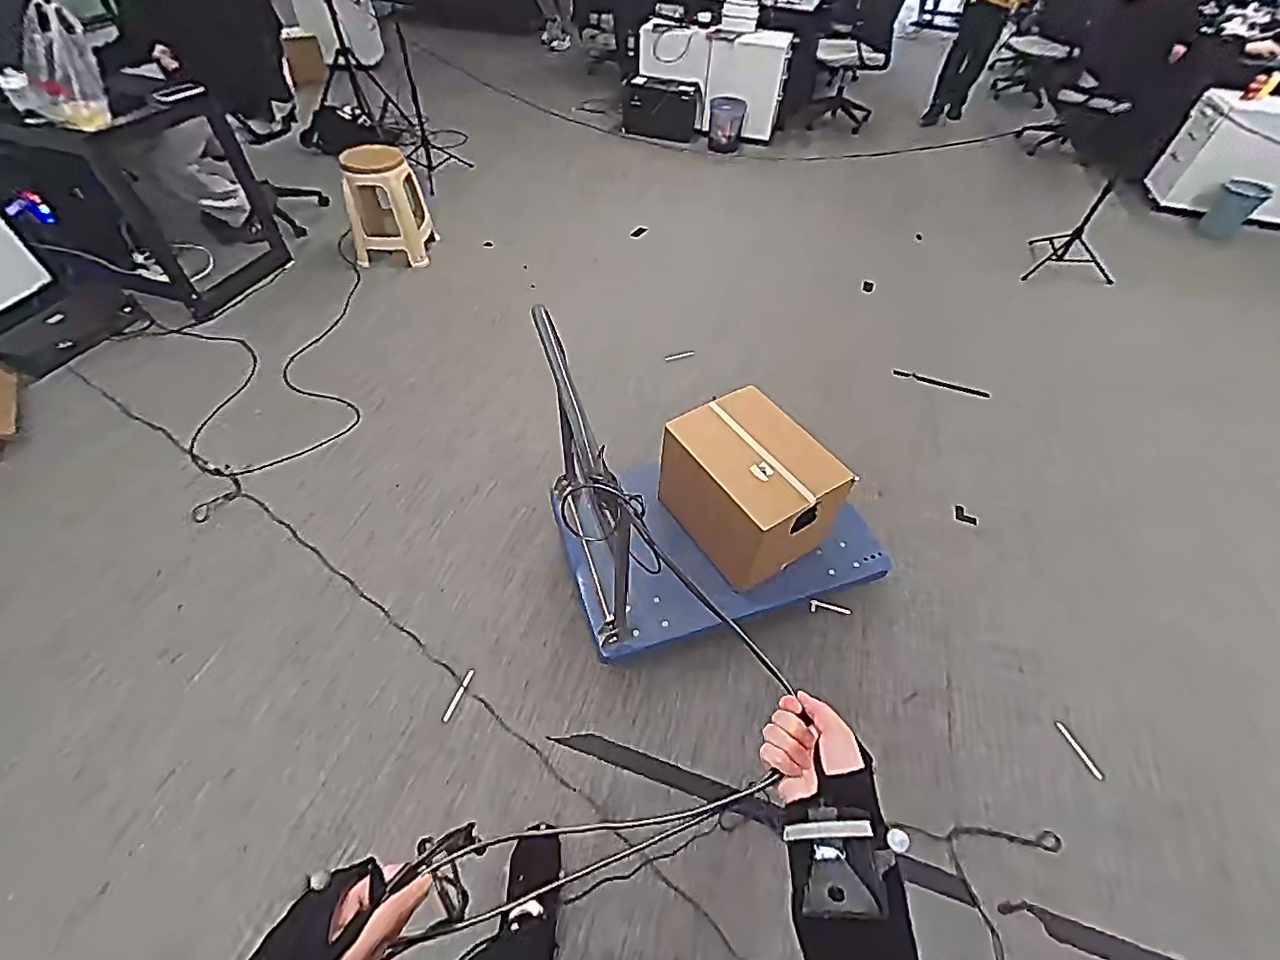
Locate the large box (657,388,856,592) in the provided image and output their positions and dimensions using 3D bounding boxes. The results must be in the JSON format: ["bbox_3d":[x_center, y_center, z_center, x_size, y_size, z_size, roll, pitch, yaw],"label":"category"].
[{"bbox_3d":[0.291,0.022,1.488,0.320,0.320,0.408,-26,58,-21],"label":"large box"}]
